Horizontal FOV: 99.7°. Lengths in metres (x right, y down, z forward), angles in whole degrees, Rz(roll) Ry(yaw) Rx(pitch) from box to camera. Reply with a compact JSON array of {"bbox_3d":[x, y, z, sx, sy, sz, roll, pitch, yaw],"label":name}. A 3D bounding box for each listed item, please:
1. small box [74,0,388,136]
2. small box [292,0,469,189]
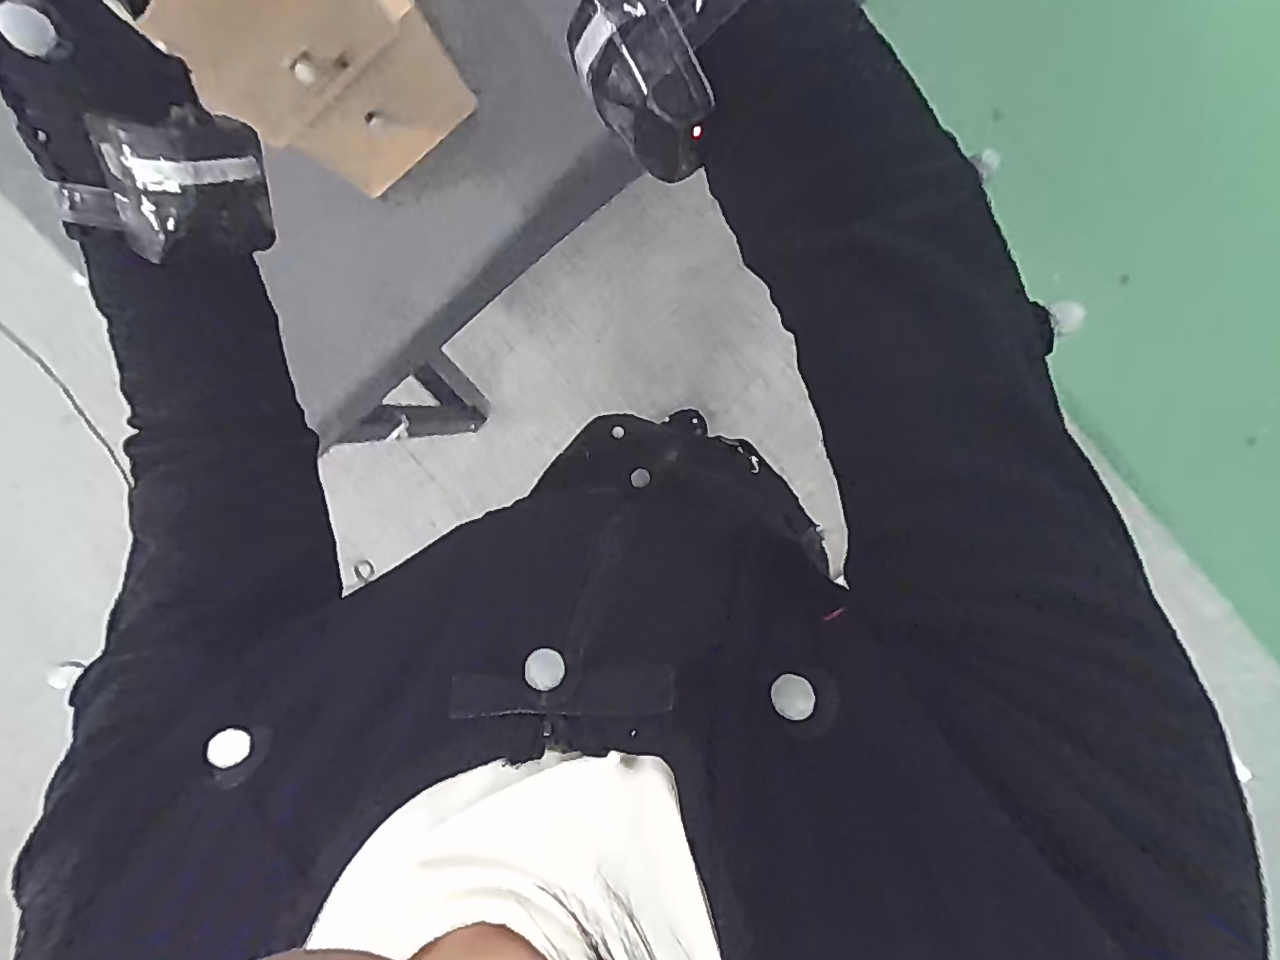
[{"bbox_3d":[-0.348,-0.427,0.426,0.168,0.176,0.179,-41,90,8],"label":"small box"},{"bbox_3d":[-0.322,-0.460,0.586,0.179,0.176,0.168,-37,93,9],"label":"small box"}]
